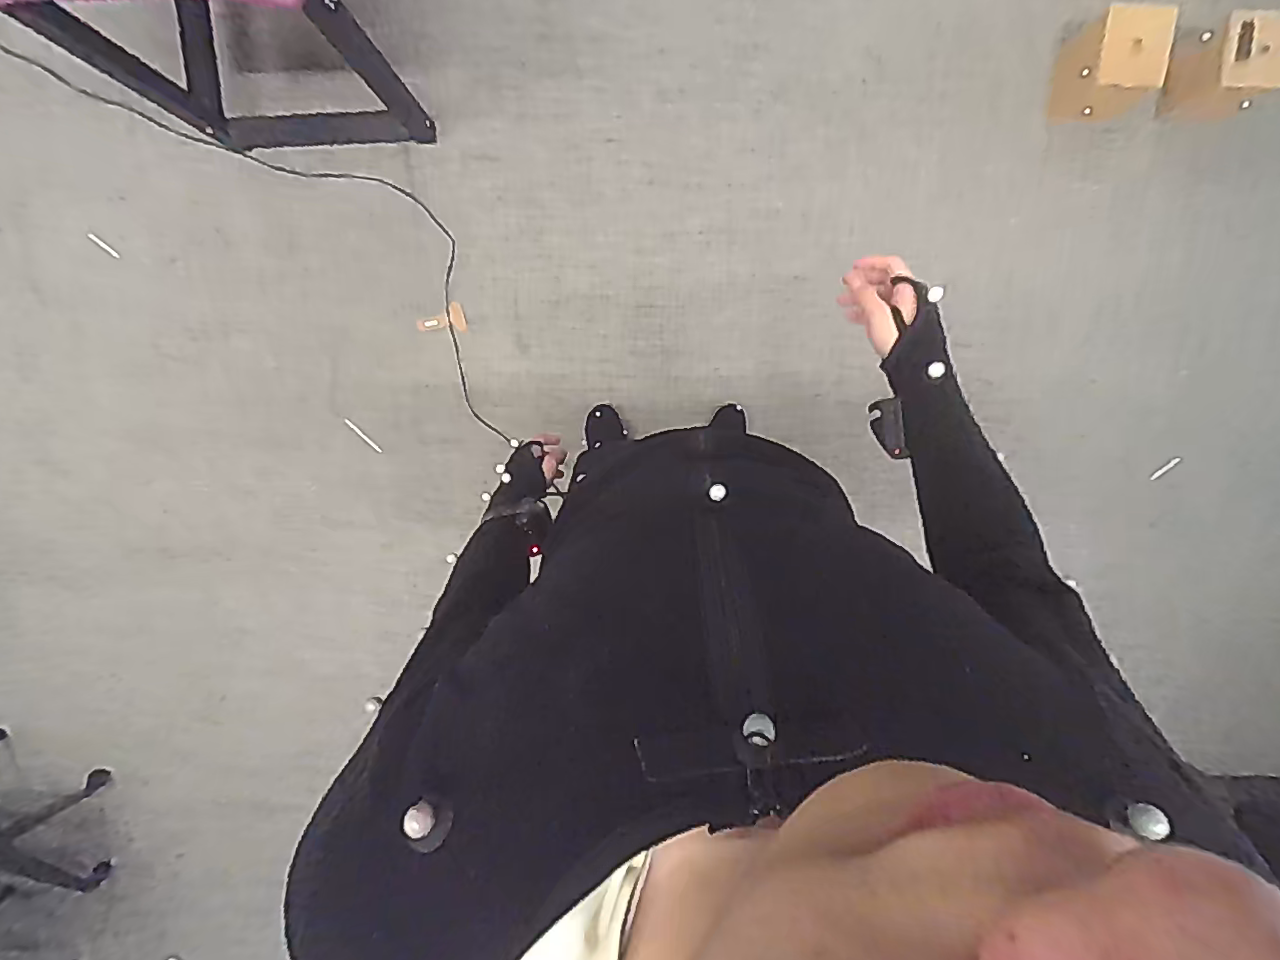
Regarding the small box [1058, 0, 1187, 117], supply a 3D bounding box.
[{"bbox_3d":[1.199,-1.052,1.359,0.168,0.176,0.179,3,100,1],"label":"small box"}]
